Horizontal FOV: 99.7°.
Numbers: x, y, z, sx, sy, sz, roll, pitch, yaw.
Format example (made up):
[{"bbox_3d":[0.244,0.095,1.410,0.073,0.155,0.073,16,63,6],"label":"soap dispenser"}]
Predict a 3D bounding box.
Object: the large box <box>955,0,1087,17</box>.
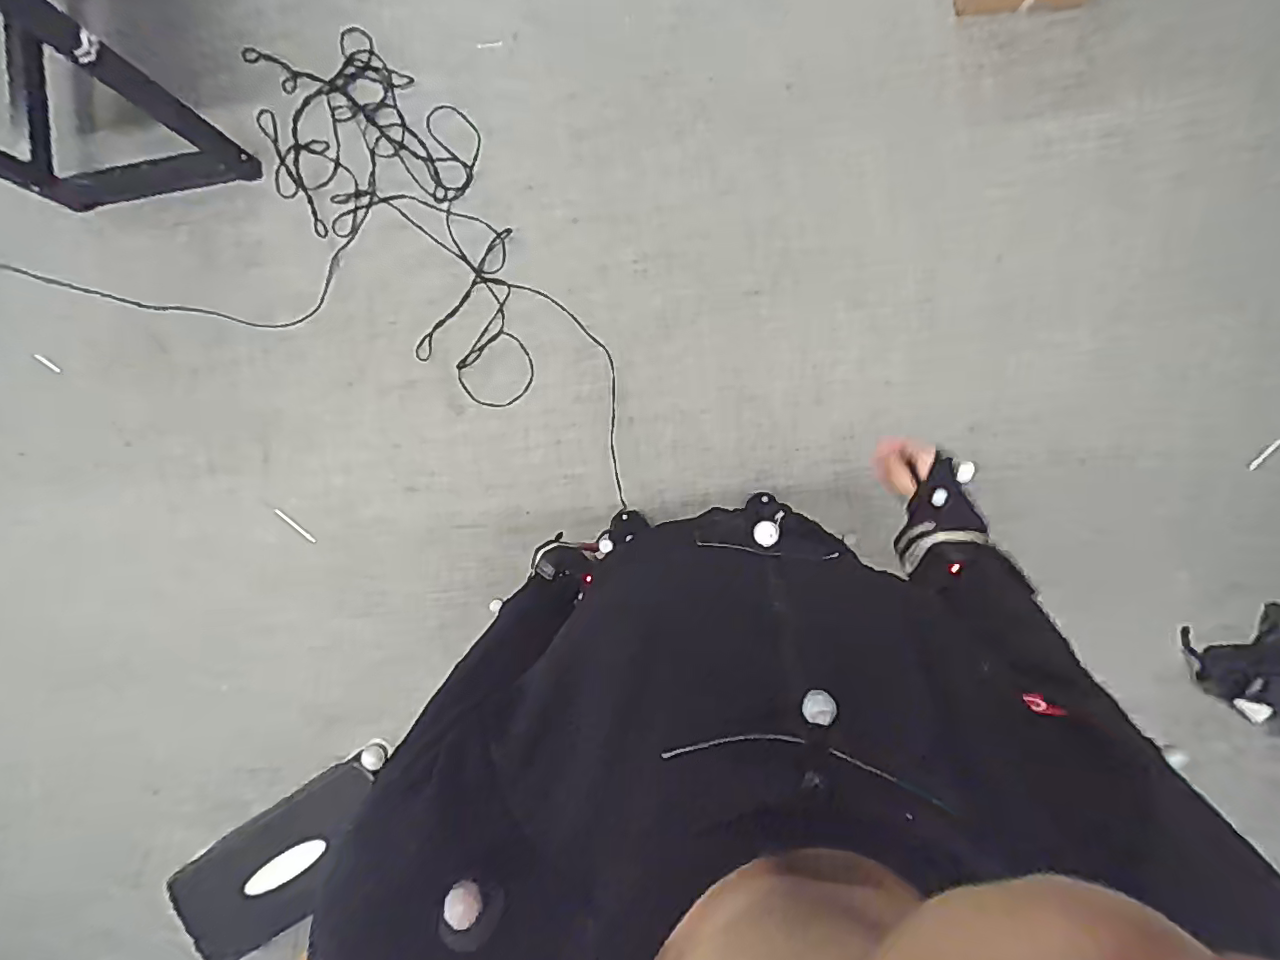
[{"bbox_3d":[0.910,-1.339,1.171,0.320,0.320,0.408,0,90,6],"label":"large box"}]
